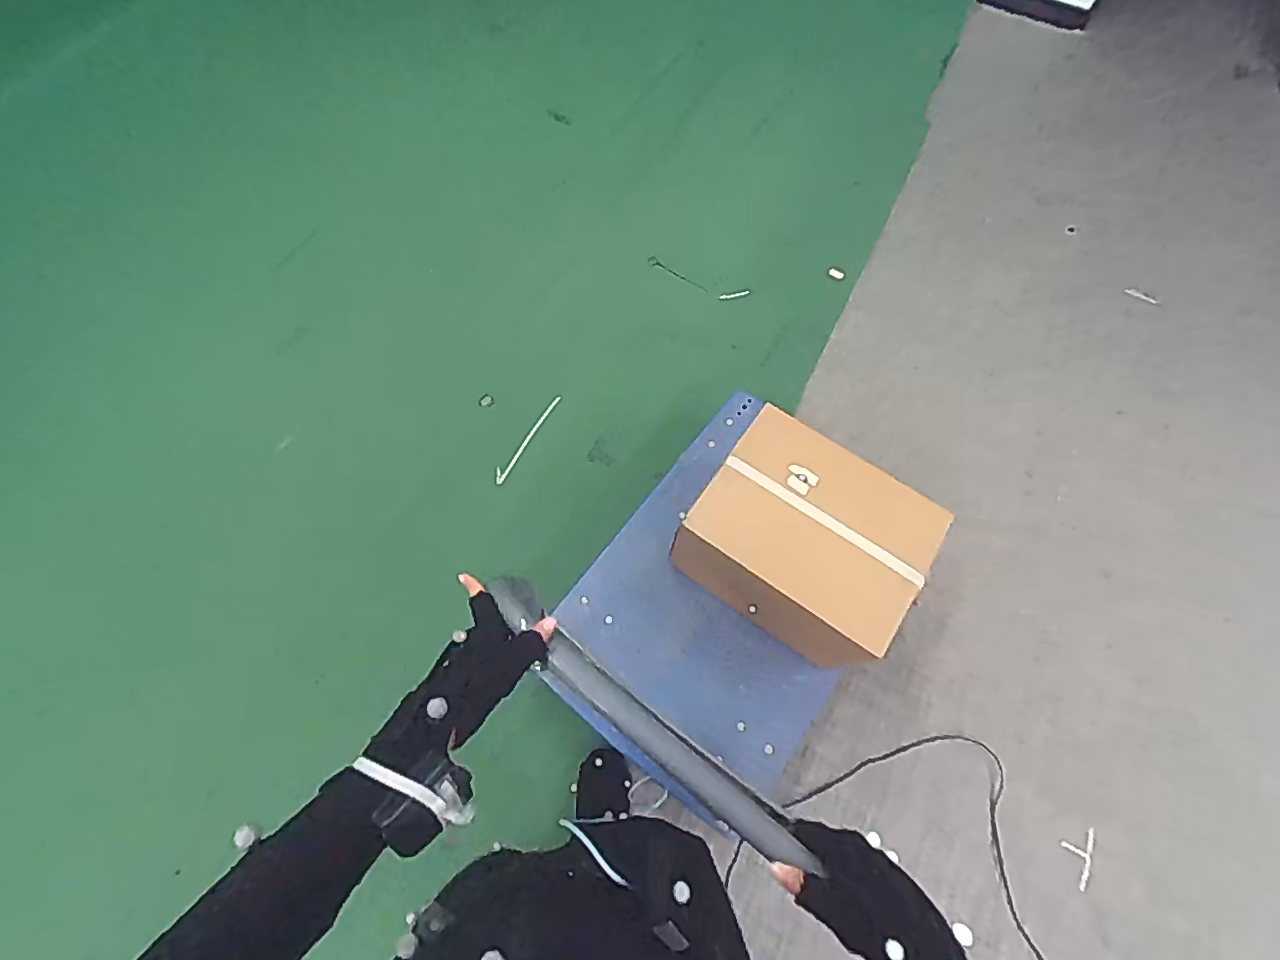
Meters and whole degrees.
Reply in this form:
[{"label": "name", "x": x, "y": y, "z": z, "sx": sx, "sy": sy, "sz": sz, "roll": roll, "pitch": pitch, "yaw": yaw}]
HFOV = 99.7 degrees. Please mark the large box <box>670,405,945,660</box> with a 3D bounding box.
[{"label": "large box", "x": 0.314, "y": 0.123, "z": 1.123, "sx": 0.408, "sy": 0.320, "sz": 0.320, "roll": 34, "pitch": 71, "yaw": 13}]
